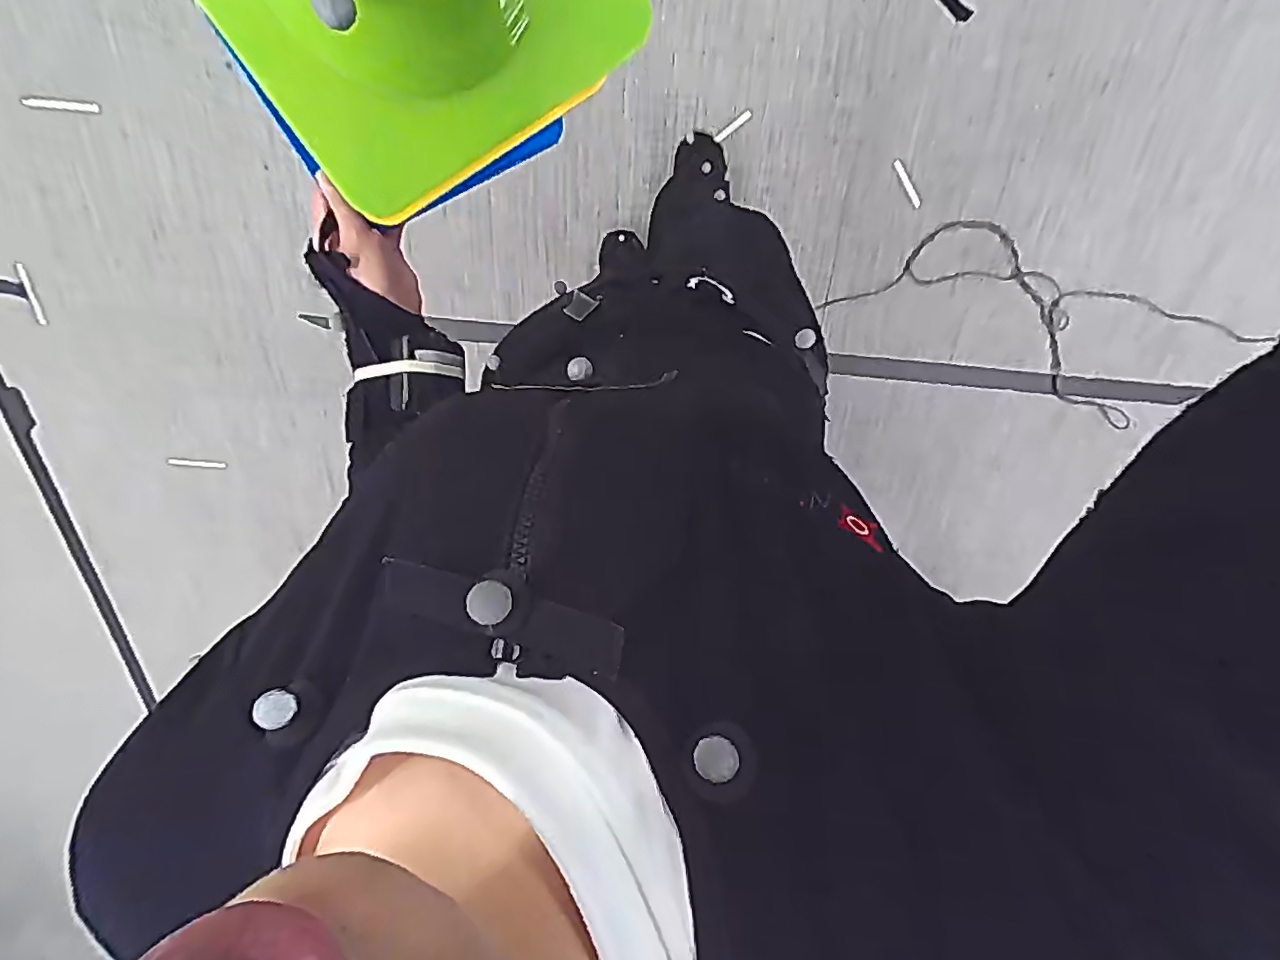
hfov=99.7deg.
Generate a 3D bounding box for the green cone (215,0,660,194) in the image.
[{"bbox_3d":[-0.074,-0.224,0.093,0.200,0.368,0.202,-35,112,-1],"label":"green cone"}]
